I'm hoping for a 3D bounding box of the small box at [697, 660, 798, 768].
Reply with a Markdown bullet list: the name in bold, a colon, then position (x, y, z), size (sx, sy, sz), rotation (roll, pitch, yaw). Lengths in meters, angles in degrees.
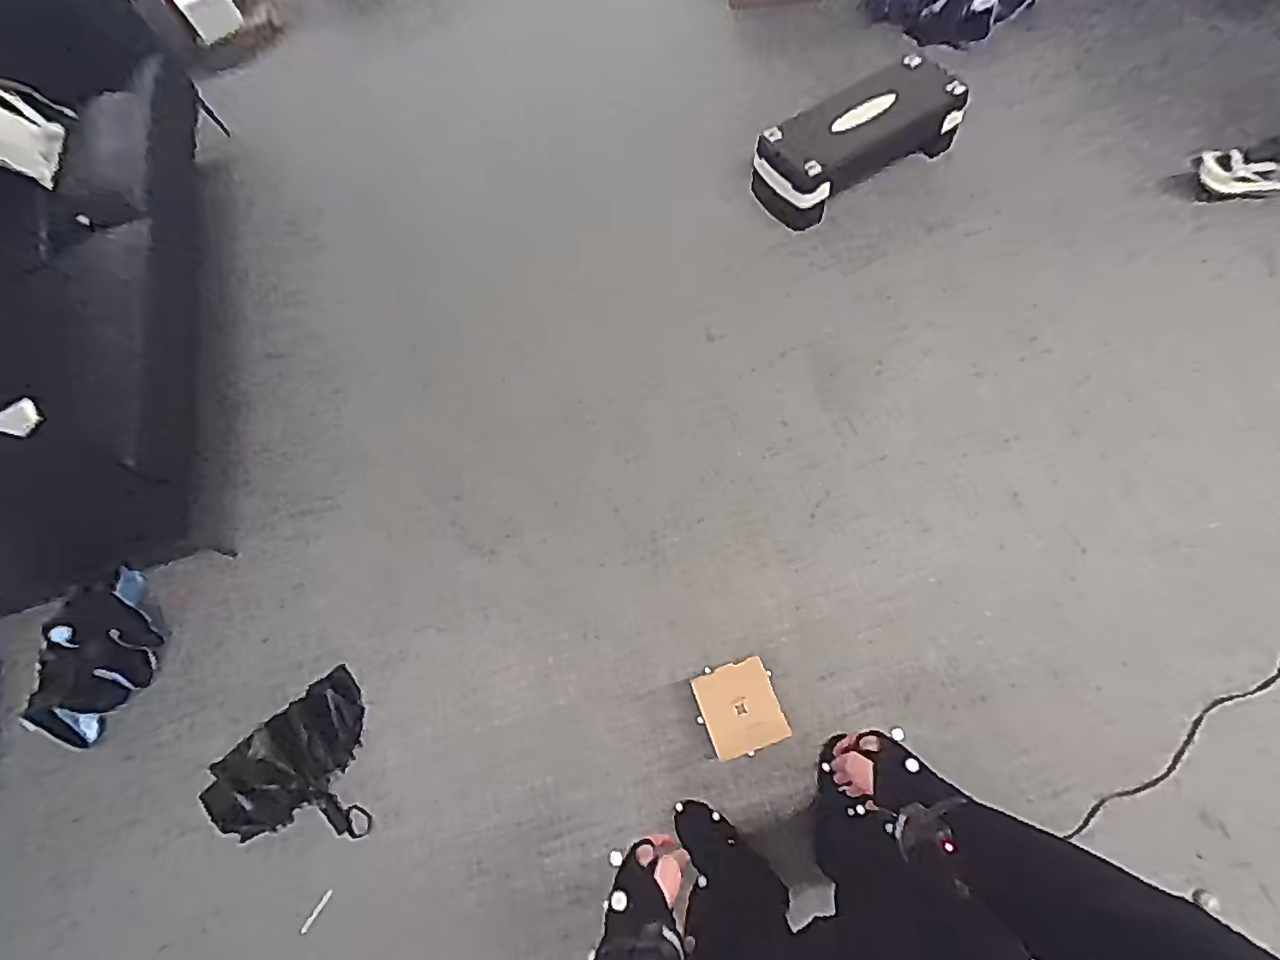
- **small box**: position (0.239, 0.532, 1.237), size (0.168, 0.176, 0.179), rotation (-23, 66, 0)
